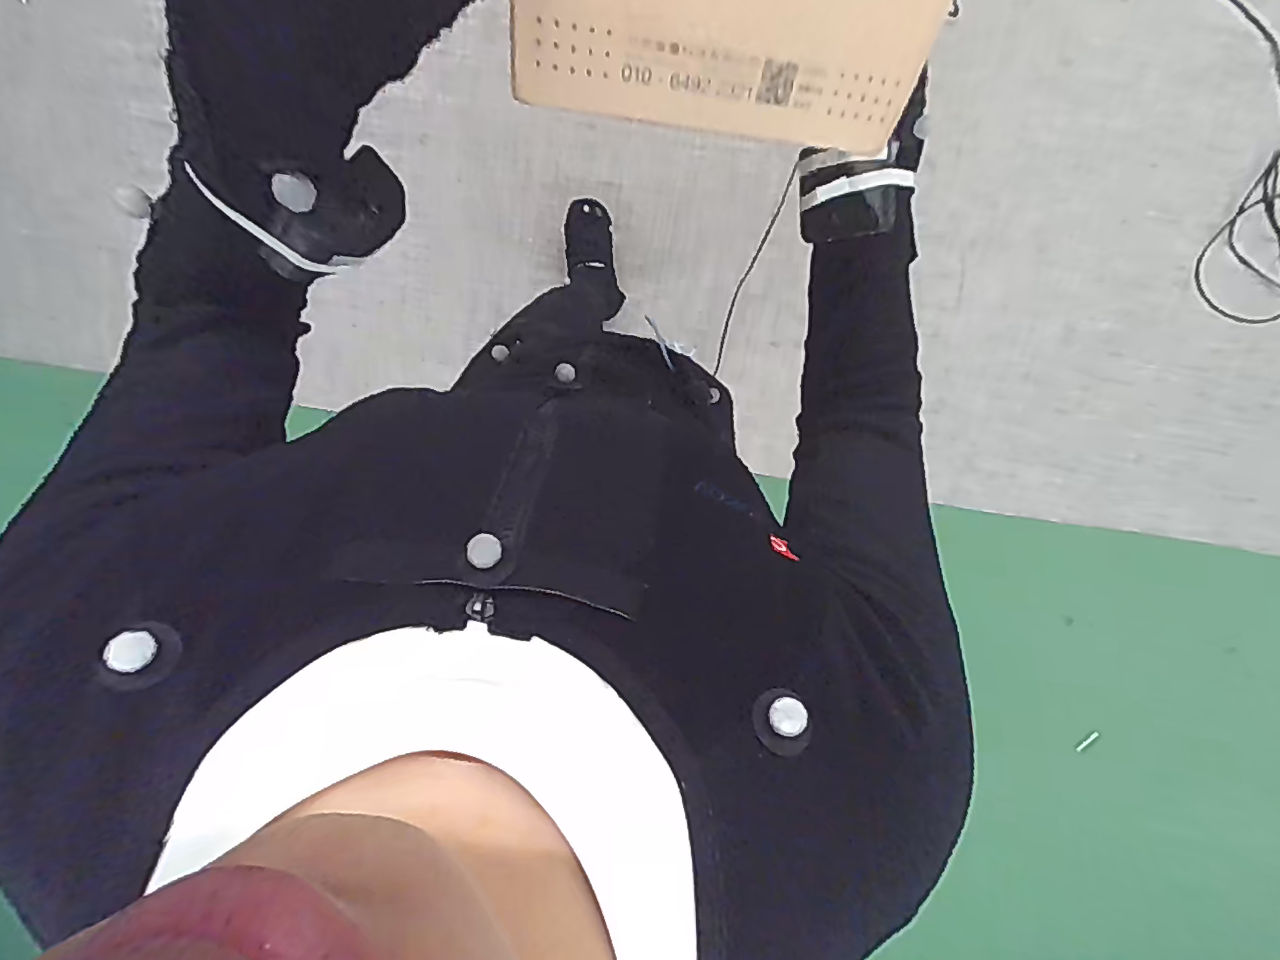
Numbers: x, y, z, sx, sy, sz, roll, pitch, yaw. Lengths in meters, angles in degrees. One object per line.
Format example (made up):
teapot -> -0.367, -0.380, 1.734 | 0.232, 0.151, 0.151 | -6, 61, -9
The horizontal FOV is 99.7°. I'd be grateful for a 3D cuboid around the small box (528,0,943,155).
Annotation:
small box -> 0.037, -0.272, 0.235 | 0.168, 0.179, 0.176 | 1, 138, -12
